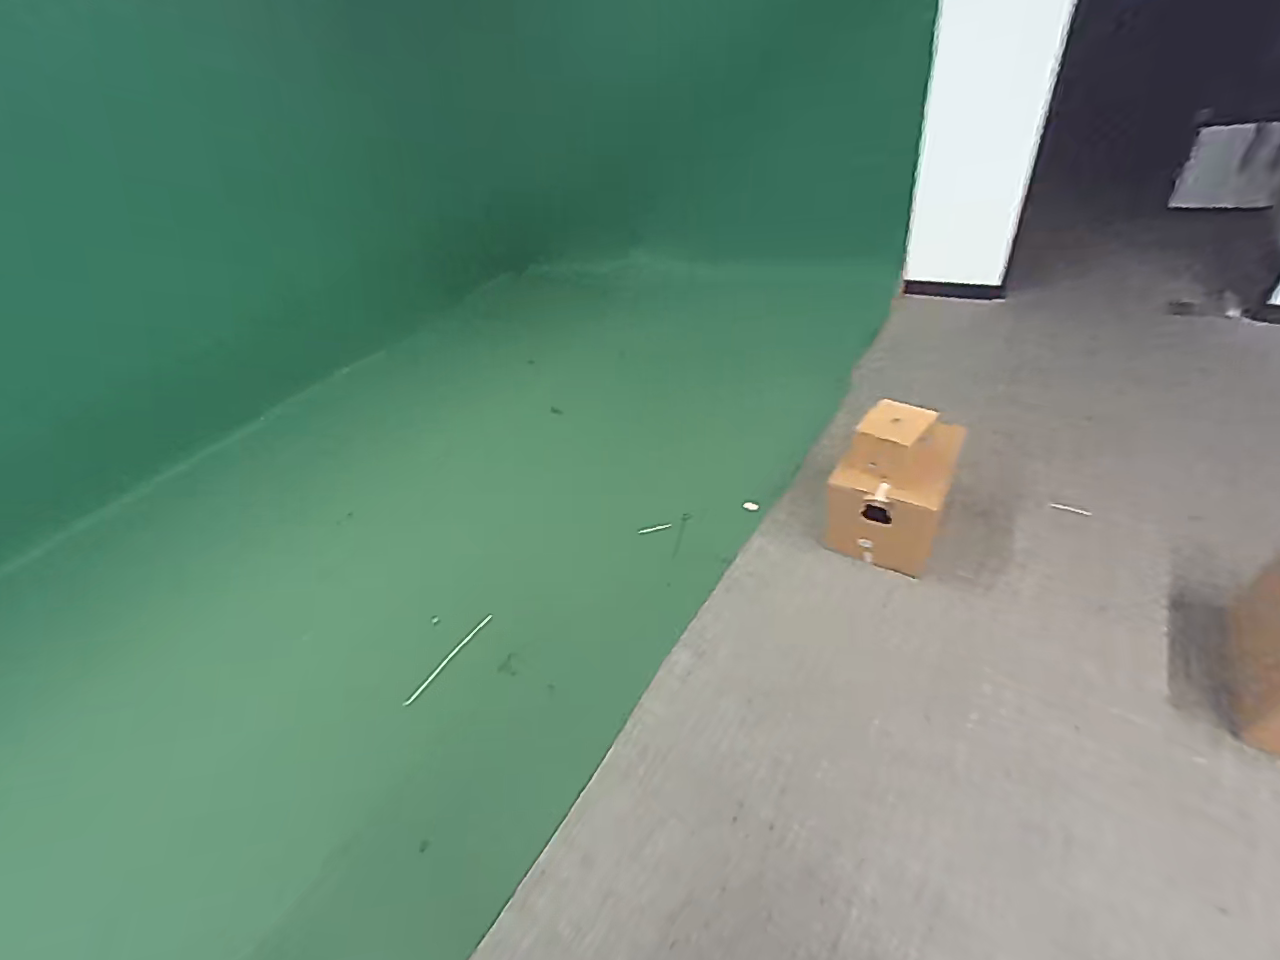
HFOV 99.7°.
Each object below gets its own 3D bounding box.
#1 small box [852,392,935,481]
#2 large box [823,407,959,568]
[{"bbox_3d":[0.745,-0.129,1.608,0.168,0.176,0.179,27,57,38],"label":"small box"},{"bbox_3d":[0.824,0.017,1.794,0.320,0.320,0.408,17,50,31],"label":"large box"}]
